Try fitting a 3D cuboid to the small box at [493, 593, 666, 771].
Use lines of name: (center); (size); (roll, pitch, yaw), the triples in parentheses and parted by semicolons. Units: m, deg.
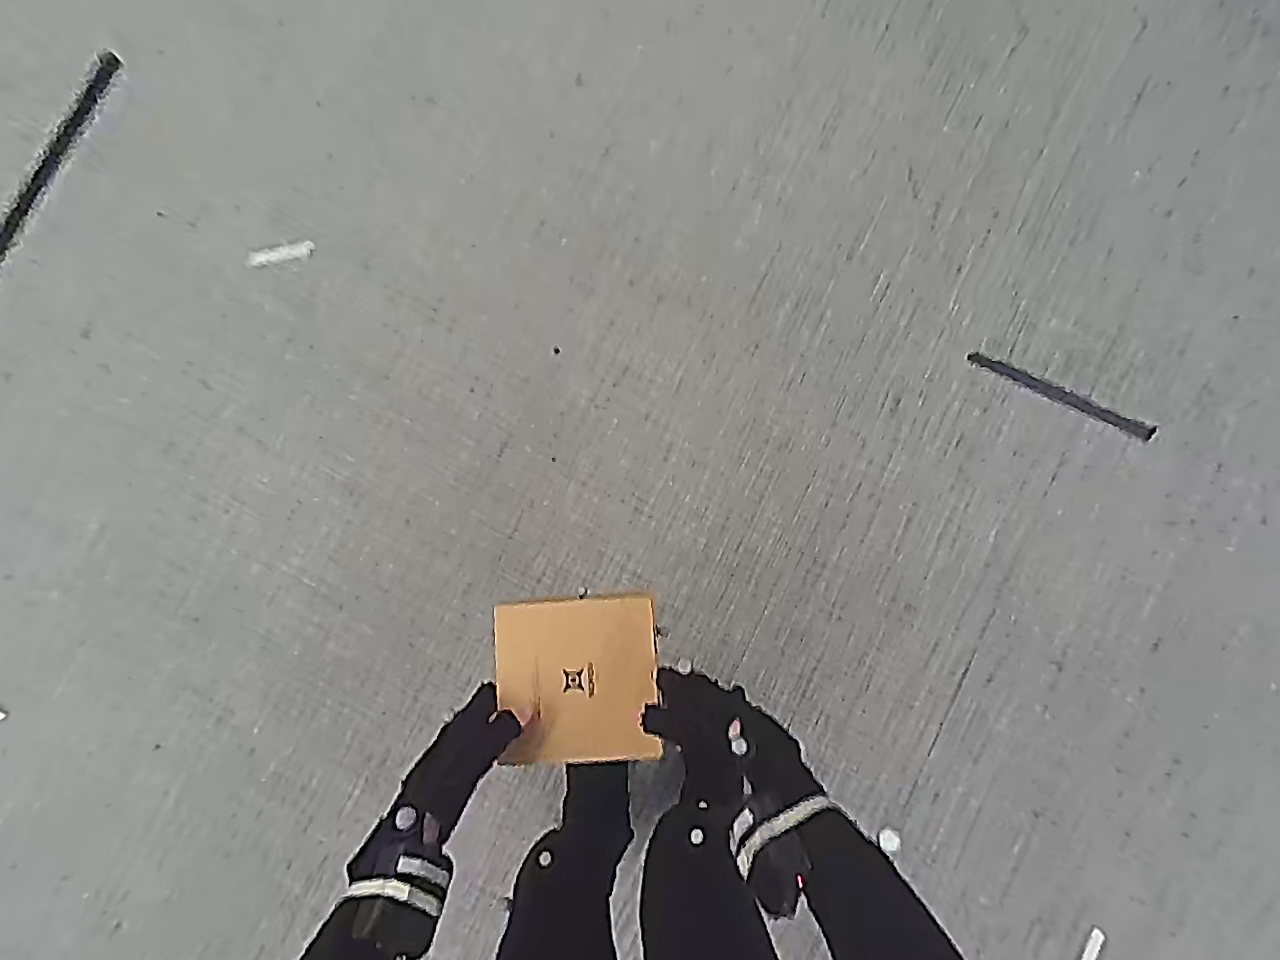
small box: (-0.064, 0.223, 0.636); (0.179, 0.176, 0.168); (-4, 80, 1)
